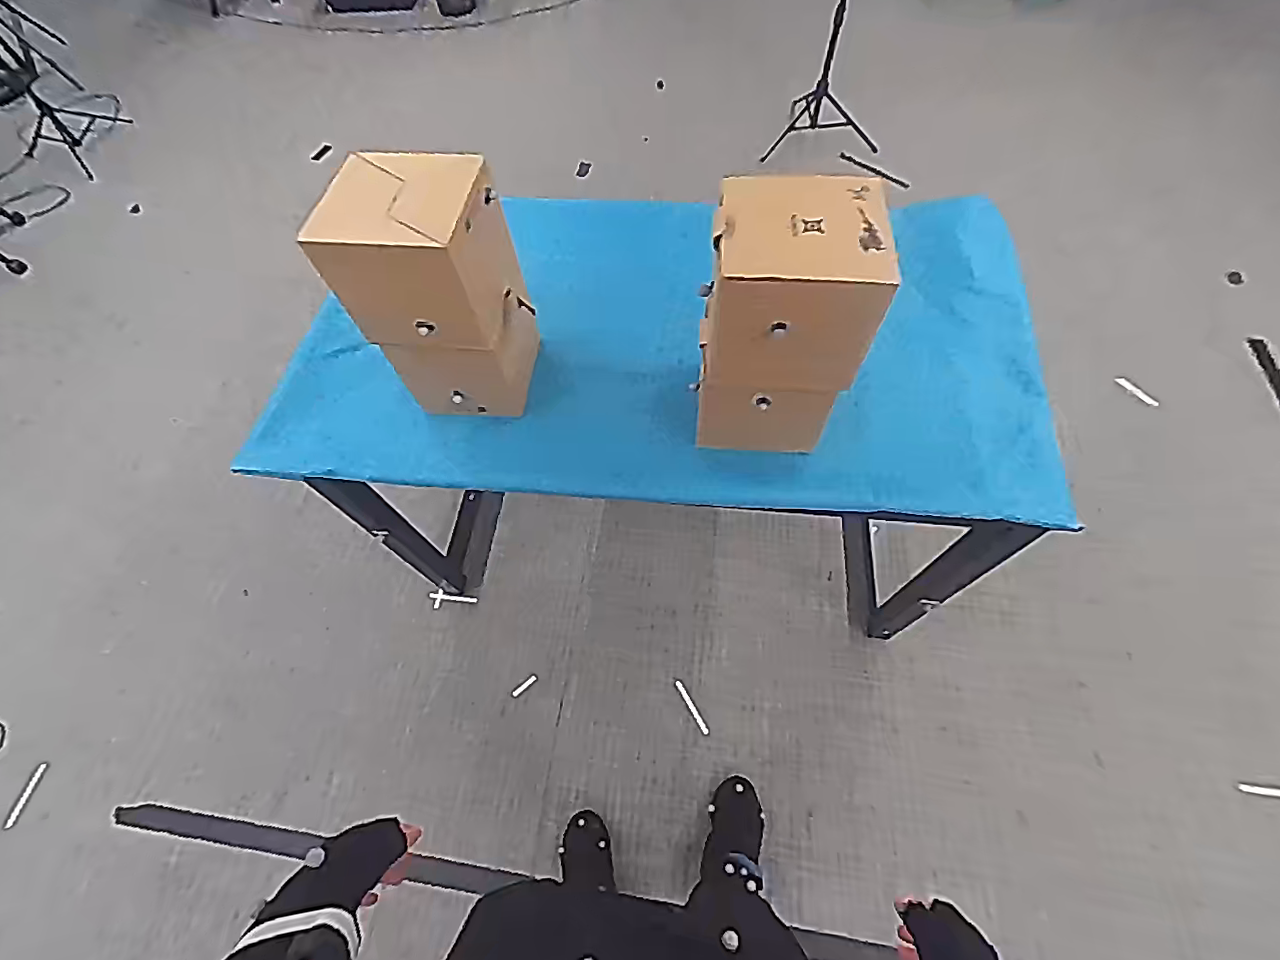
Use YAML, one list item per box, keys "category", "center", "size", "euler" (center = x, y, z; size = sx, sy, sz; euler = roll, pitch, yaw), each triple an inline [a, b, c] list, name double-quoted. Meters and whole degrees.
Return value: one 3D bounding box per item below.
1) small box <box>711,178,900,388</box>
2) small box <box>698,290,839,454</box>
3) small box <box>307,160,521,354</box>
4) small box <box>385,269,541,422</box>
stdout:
- category: "small box"
  center: [0.173, -0.221, 0.629]
  size: [0.179, 0.176, 0.168]
  euler: [1, 62, 4]
- category: "small box"
  center: [0.176, -0.150, 0.776]
  size: [0.179, 0.176, 0.168]
  euler: [4, 62, 7]
- category: "small box"
  center: [-0.273, -0.283, 0.692]
  size: [0.179, 0.176, 0.168]
  euler: [5, 62, 6]
- category: "small box"
  center: [-0.264, -0.215, 0.844]
  size: [0.168, 0.176, 0.179]
  euler: [6, 64, 8]
